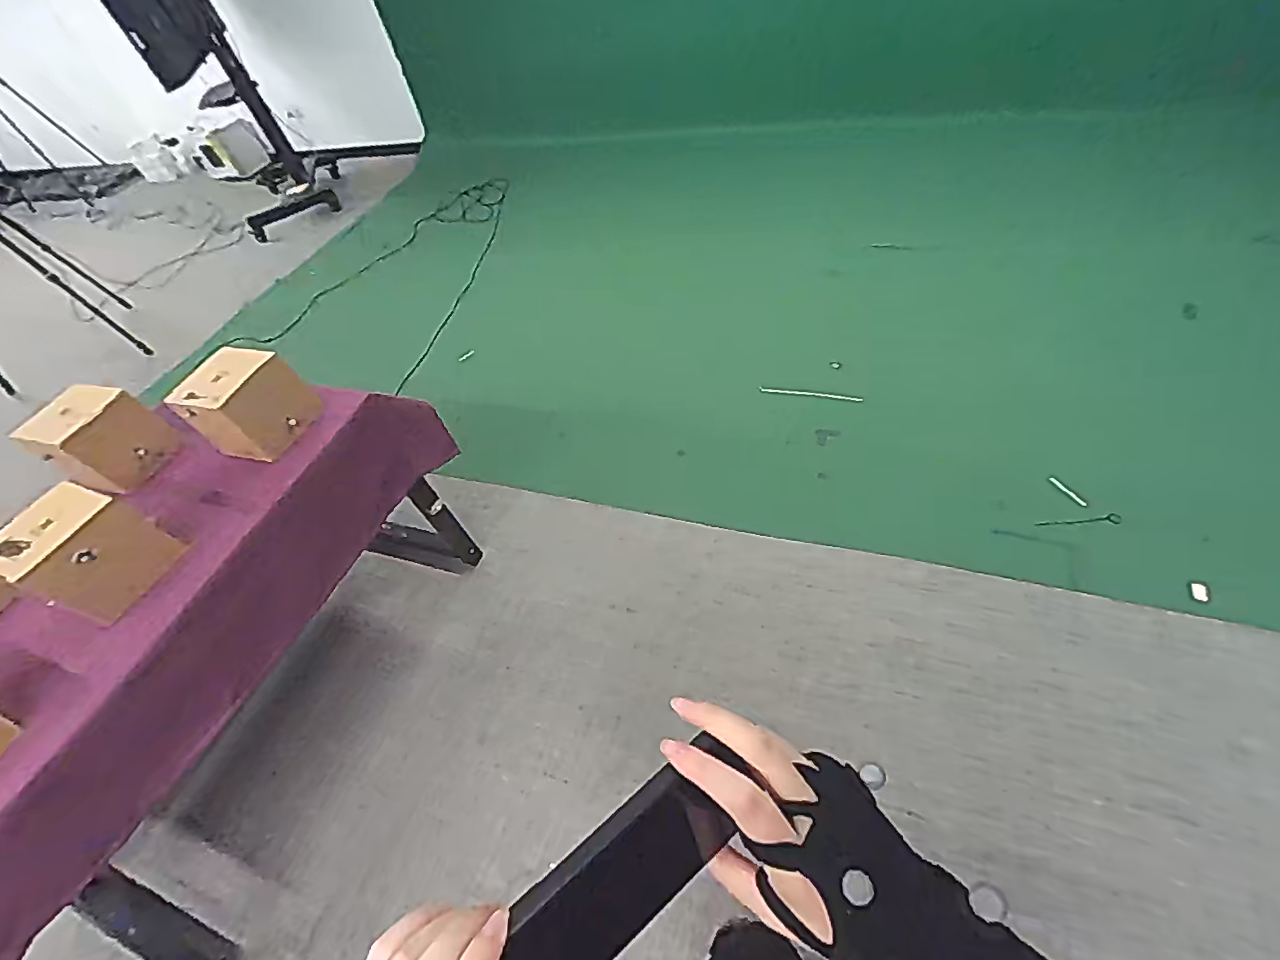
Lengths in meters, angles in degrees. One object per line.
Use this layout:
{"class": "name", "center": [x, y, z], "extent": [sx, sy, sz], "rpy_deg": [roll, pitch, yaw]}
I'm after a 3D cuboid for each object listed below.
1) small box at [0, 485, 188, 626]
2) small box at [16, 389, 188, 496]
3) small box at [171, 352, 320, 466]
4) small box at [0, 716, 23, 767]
{"class": "small box", "center": [-1.000, 0.140, 0.989], "extent": [0.168, 0.176, 0.179], "rpy_deg": [12, 55, 21]}
{"class": "small box", "center": [-1.189, -0.082, 1.209], "extent": [0.179, 0.176, 0.168], "rpy_deg": [8, 54, 18]}
{"class": "small box", "center": [-0.852, -0.157, 1.194], "extent": [0.168, 0.176, 0.179], "rpy_deg": [8, 54, 20]}
{"class": "small box", "center": [-1.102, 0.415, 0.792], "extent": [0.168, 0.176, 0.179], "rpy_deg": [11, 54, 21]}
